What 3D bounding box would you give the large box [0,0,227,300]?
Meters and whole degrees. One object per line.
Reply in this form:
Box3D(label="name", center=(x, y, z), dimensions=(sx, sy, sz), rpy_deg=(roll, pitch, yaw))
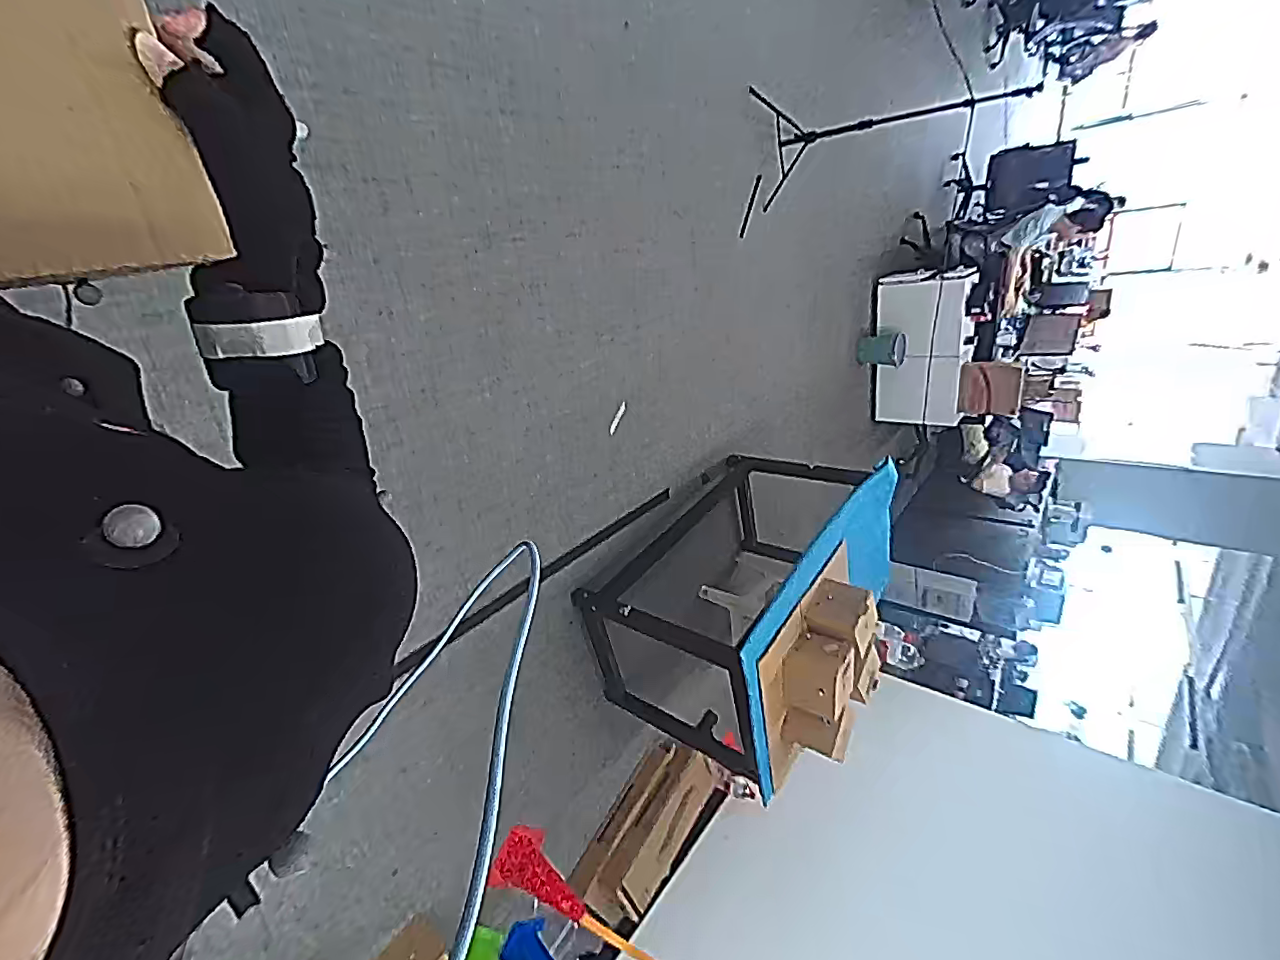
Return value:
Box3D(label="large box", center=(-0.510, -0.231, 0.243), dimensions=(0.408, 0.320, 0.320), rpy_deg=(-29, 123, -39))
